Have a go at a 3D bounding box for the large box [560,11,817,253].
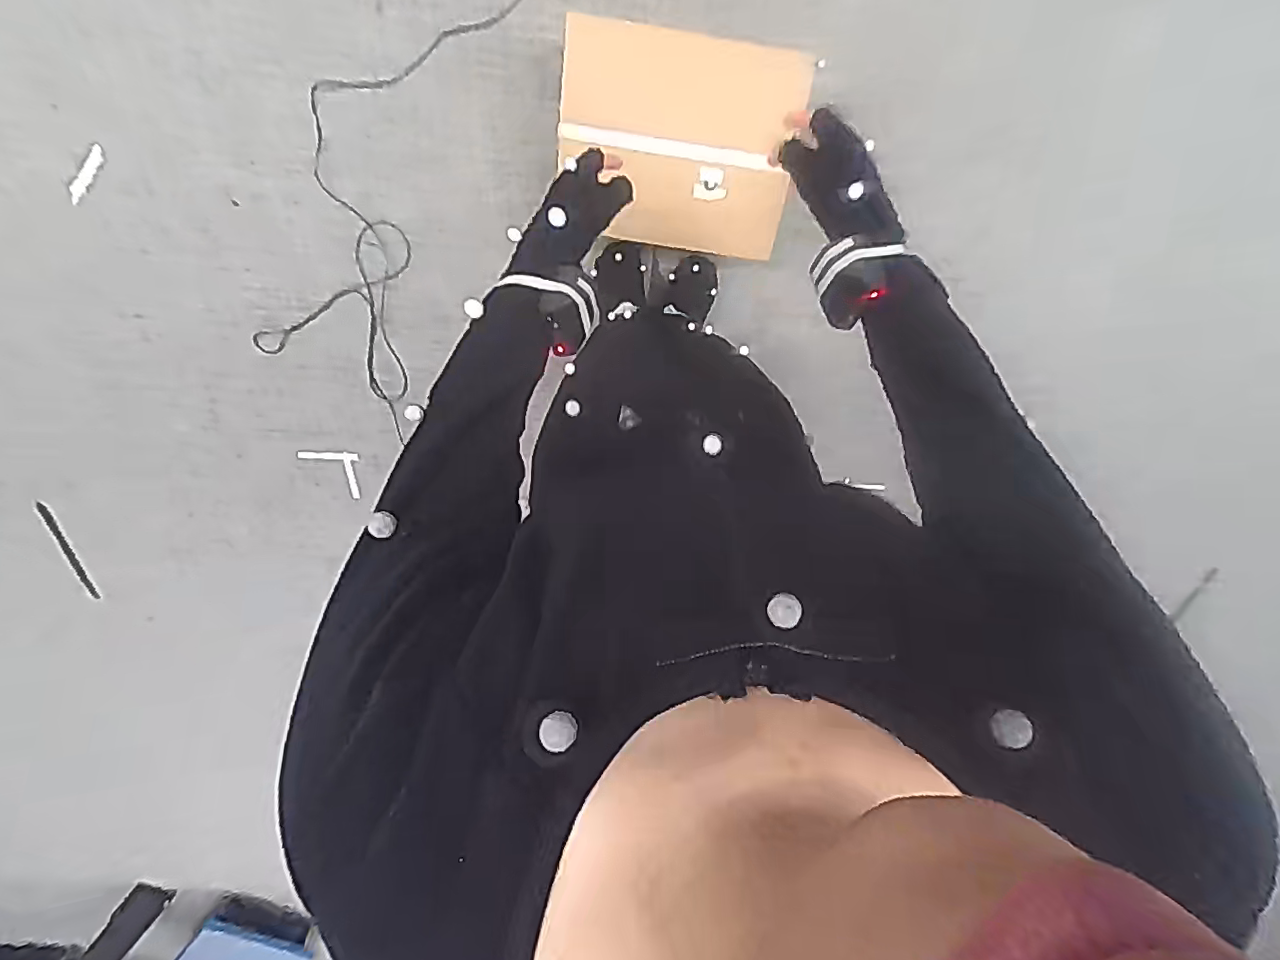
[{"bbox_3d":[0.065,-0.648,1.050,0.408,0.320,0.320,7,121,-4],"label":"large box"}]
